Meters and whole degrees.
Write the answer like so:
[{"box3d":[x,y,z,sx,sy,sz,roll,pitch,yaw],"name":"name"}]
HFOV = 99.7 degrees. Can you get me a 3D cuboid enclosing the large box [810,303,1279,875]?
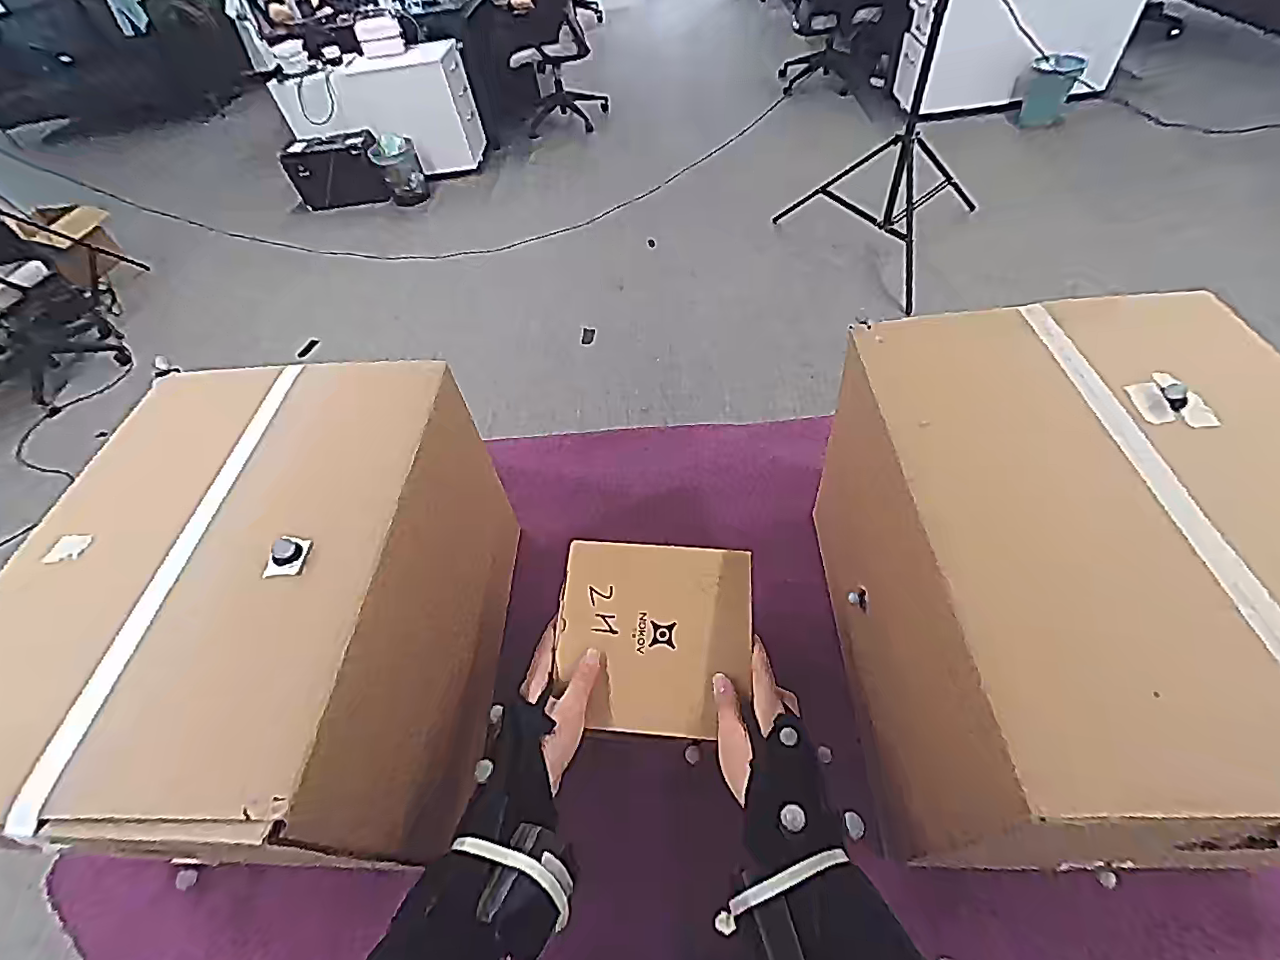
[{"box3d":[0.362,0.099,0.492,0.320,0.320,0.408,-4,50,5],"name":"large box"}]
